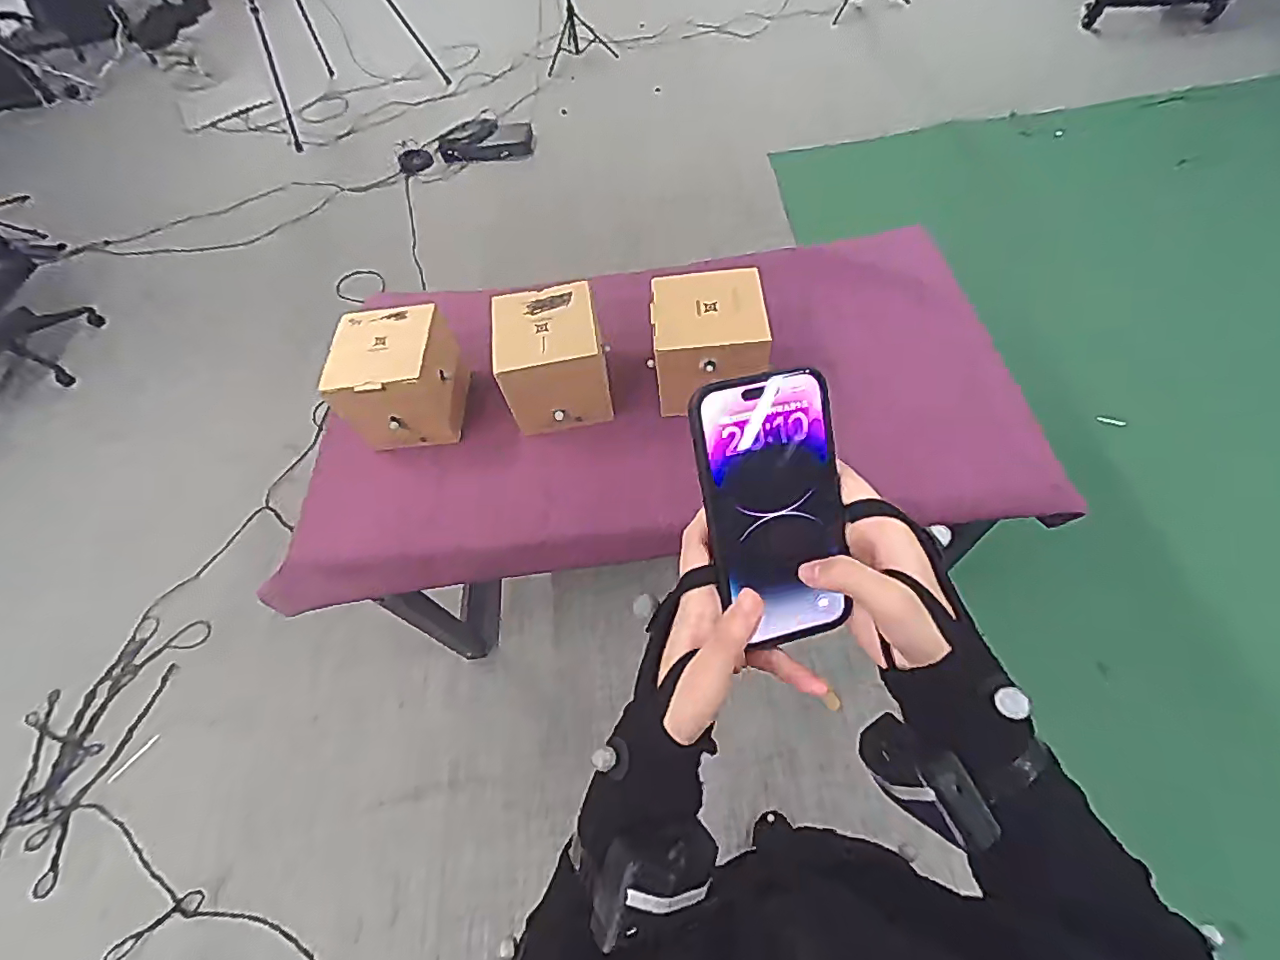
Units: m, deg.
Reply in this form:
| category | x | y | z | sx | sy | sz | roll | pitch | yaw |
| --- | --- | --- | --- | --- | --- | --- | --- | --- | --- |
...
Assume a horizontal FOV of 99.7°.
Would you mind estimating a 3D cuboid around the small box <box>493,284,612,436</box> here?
| category | x | y | z | sx | sy | sz | roll | pitch | yaw |
| --- | --- | --- | --- | --- | --- | --- | --- | --- | --- |
| small box | -0.146 | -0.202 | 0.931 | 0.168 | 0.176 | 0.179 | -10 | 59 | 1 |

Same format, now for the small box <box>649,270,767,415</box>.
| category | x | y | z | sx | sy | sz | roll | pitch | yaw |
| --- | --- | --- | --- | --- | --- | --- | --- | --- | --- |
| small box | 0.112 | -0.224 | 0.911 | 0.179 | 0.176 | 0.168 | -4 | 59 | 5 |

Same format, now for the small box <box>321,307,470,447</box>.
| category | x | y | z | sx | sy | sz | roll | pitch | yaw |
| --- | --- | --- | --- | --- | --- | --- | --- | --- | --- |
| small box | -0.412 | -0.170 | 0.946 | 0.168 | 0.176 | 0.179 | -6 | 59 | 4 |
